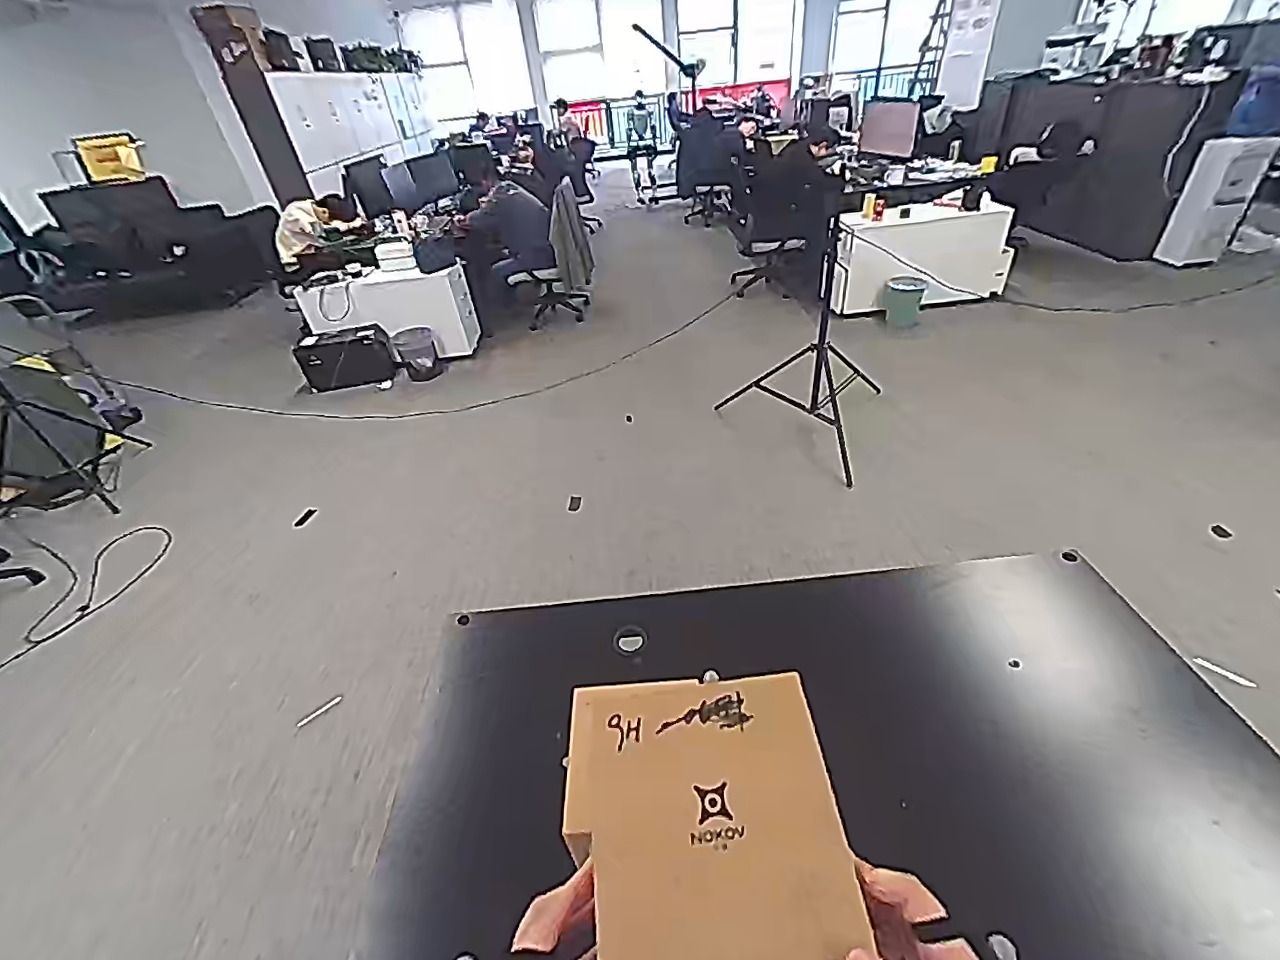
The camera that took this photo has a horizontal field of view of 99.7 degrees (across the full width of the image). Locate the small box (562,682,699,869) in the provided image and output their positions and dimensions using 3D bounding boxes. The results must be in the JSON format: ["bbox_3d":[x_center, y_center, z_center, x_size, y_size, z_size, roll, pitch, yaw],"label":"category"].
[{"bbox_3d":[0.003,0.387,0.693,0.168,0.176,0.179,-6,37,3],"label":"small box"}]

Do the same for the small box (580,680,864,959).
[{"bbox_3d":[0.049,0.277,0.425,0.168,0.176,0.179,-7,54,-1],"label":"small box"}]
